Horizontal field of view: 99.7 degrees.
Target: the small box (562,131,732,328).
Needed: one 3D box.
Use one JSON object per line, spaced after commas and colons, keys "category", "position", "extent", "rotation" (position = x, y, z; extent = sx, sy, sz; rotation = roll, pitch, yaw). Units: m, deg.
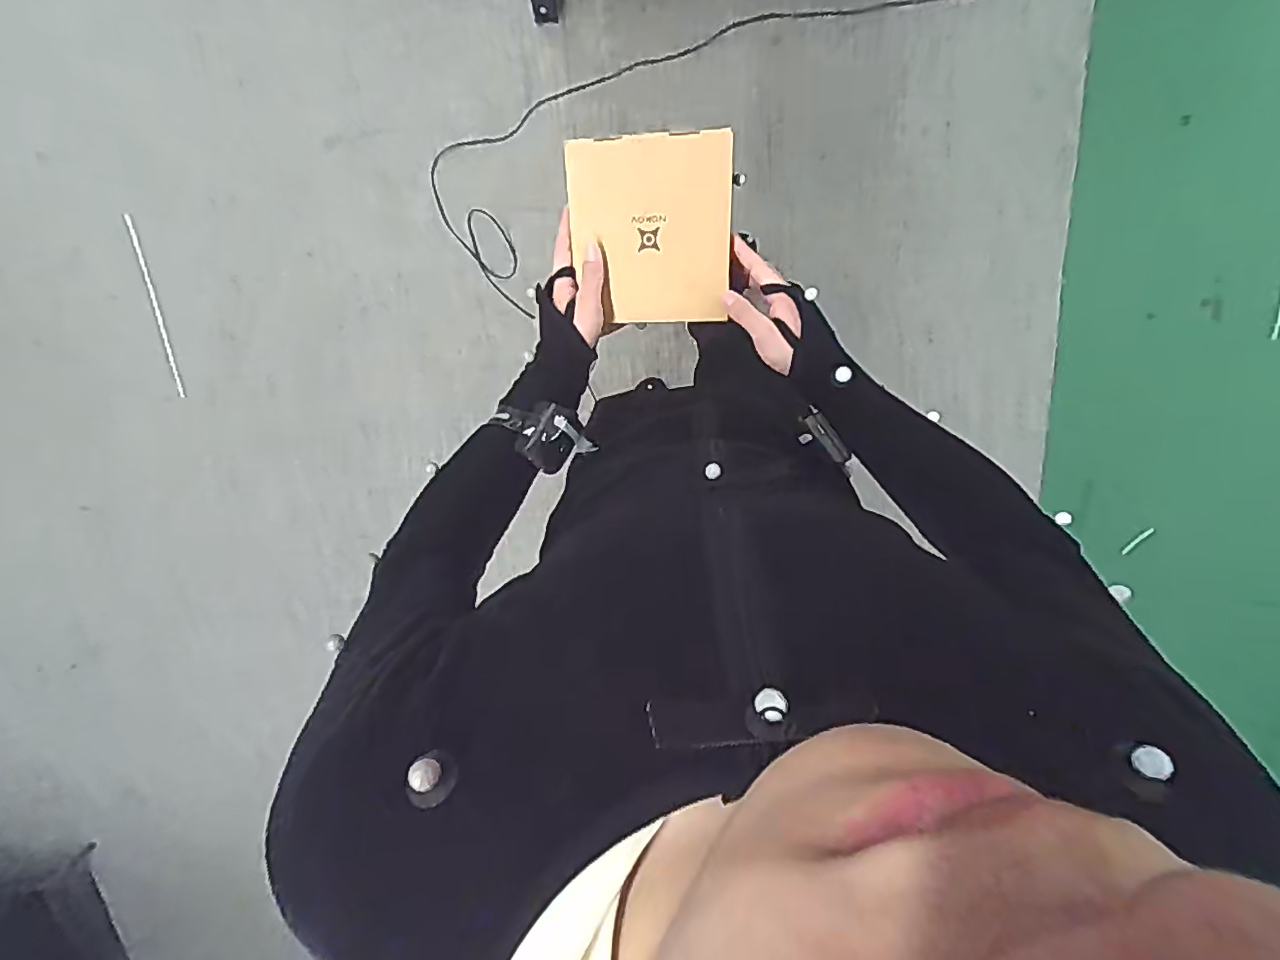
{"category": "small box", "position": [0.019, -0.275, 0.615], "extent": [0.168, 0.176, 0.179], "rotation": [1, 112, 8]}
